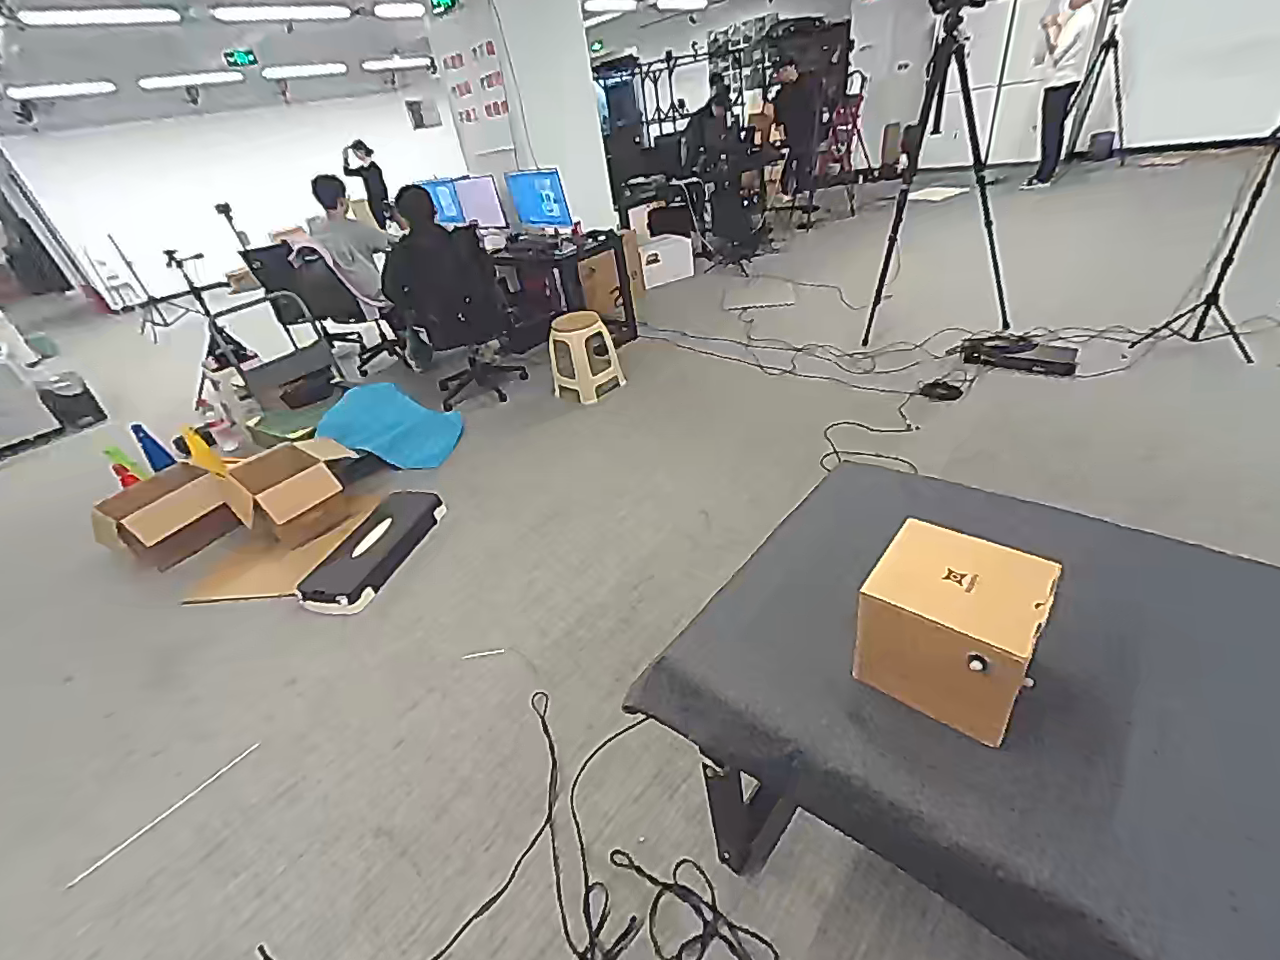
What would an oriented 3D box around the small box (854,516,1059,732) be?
[{"bbox_3d":[0.388,0.178,0.685,0.179,0.176,0.168,20,44,37],"label":"small box"}]
